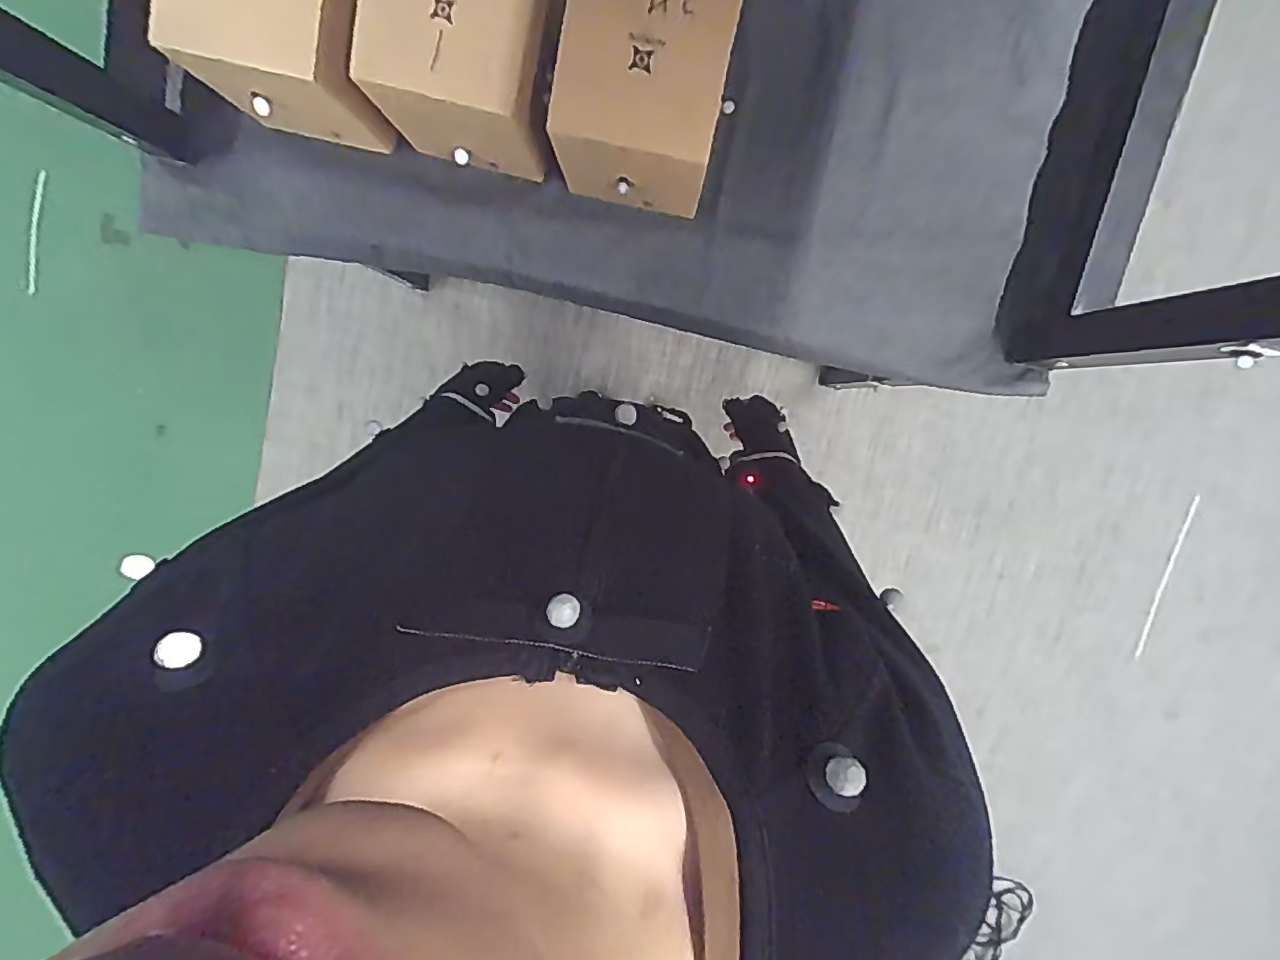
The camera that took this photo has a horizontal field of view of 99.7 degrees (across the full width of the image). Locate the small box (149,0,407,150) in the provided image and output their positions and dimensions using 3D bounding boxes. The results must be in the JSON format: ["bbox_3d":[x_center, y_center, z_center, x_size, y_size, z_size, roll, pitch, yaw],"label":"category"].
[{"bbox_3d":[-0.378,-0.499,0.593,0.168,0.176,0.179,12,98,-2],"label":"small box"}]
